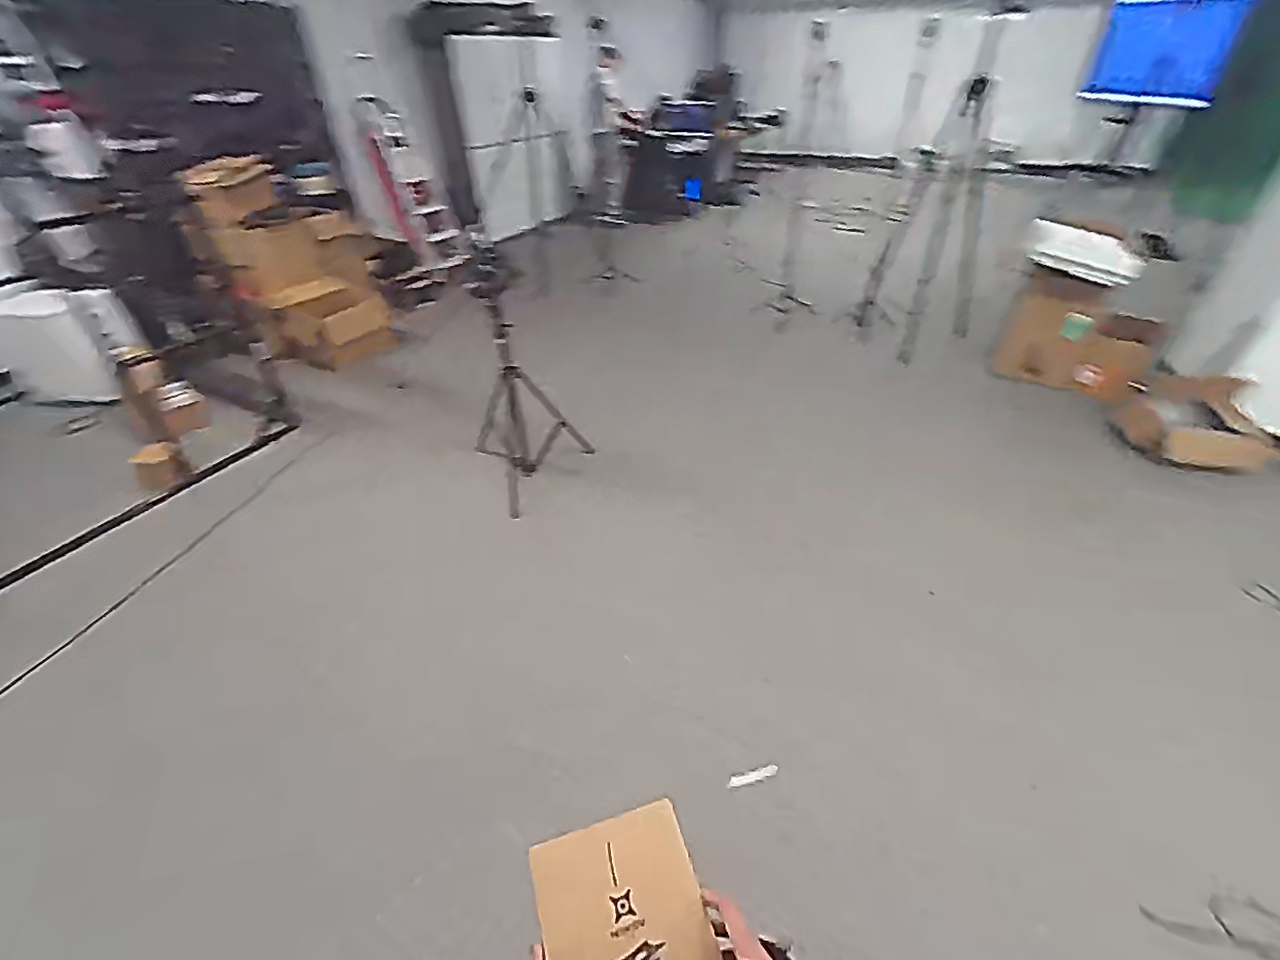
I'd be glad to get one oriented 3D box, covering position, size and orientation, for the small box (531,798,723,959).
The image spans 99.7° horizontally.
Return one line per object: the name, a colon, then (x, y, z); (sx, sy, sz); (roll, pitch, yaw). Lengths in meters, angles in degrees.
small box: (-0.020, 0.490, 0.598); (0.168, 0.176, 0.179); (-10, 48, -16)
